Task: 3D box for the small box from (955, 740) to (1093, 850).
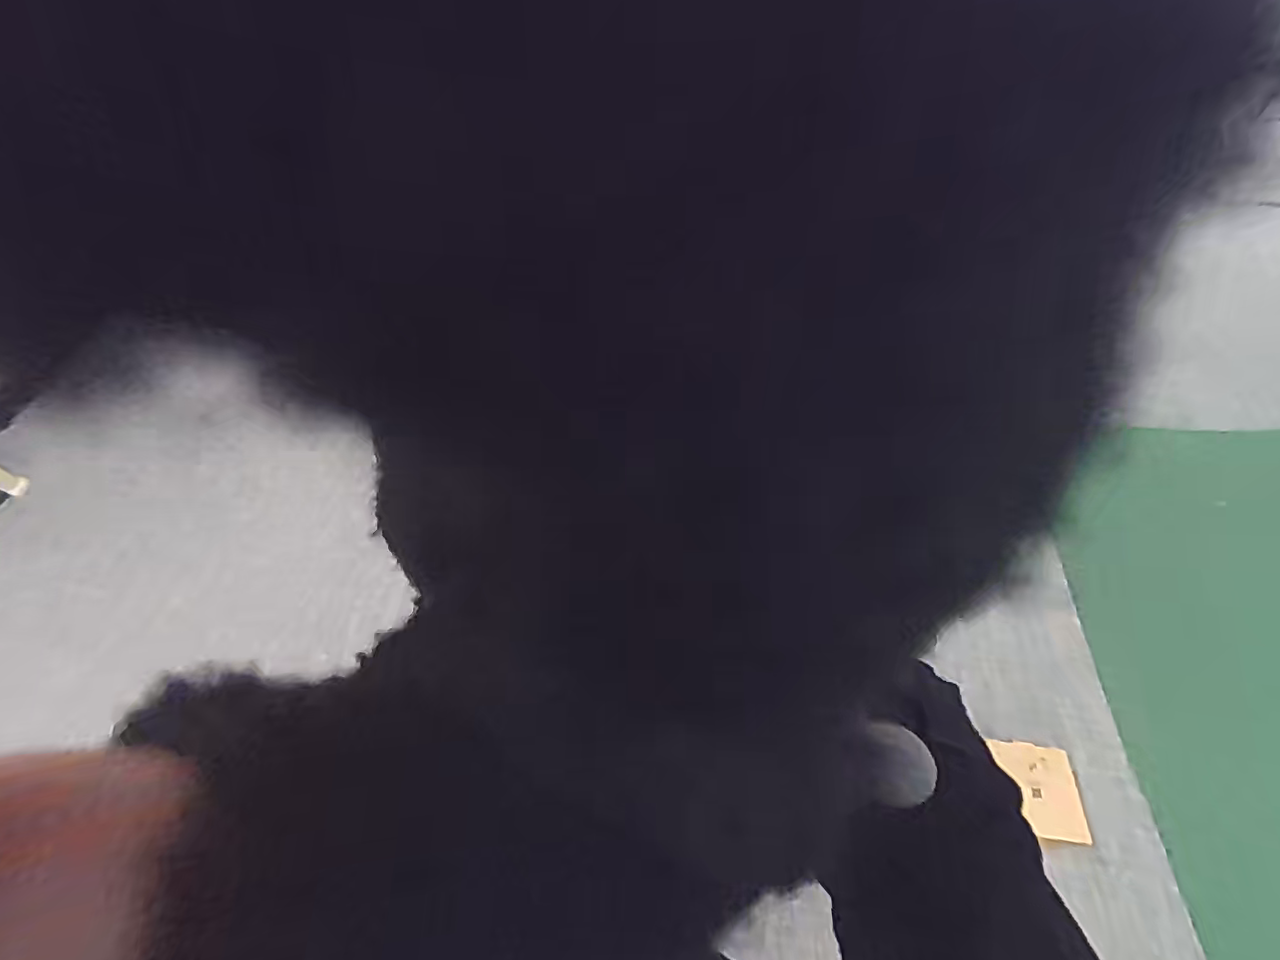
[{"bbox_3d":[0.817,0.685,1.172,0.168,0.176,0.179,6,54,6],"label":"small box"}]
